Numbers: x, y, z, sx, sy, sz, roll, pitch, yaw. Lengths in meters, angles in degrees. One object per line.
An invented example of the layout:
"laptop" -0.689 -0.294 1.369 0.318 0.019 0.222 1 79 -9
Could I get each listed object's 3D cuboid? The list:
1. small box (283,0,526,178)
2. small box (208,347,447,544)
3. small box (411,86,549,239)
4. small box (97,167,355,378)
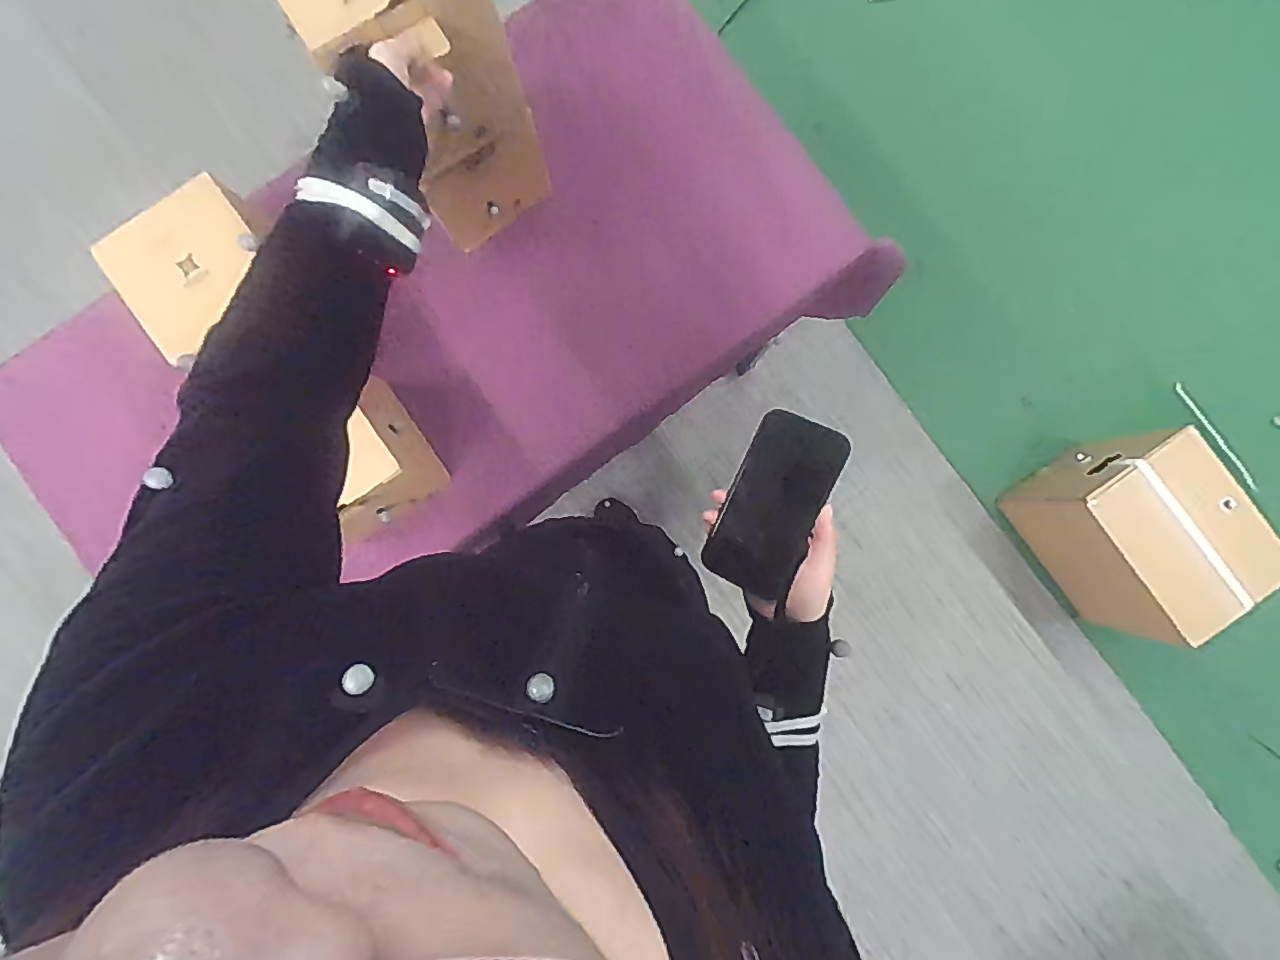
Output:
"small box" -0.240 -0.453 0.537 0.168 0.176 0.179 -34 80 -2
"small box" -0.385 -0.040 0.704 0.168 0.176 0.179 -35 89 -2
"small box" -0.243 -0.465 0.719 0.168 0.176 0.179 -38 89 -1
"small box" -0.521 -0.252 0.711 0.168 0.176 0.179 -35 89 -2
